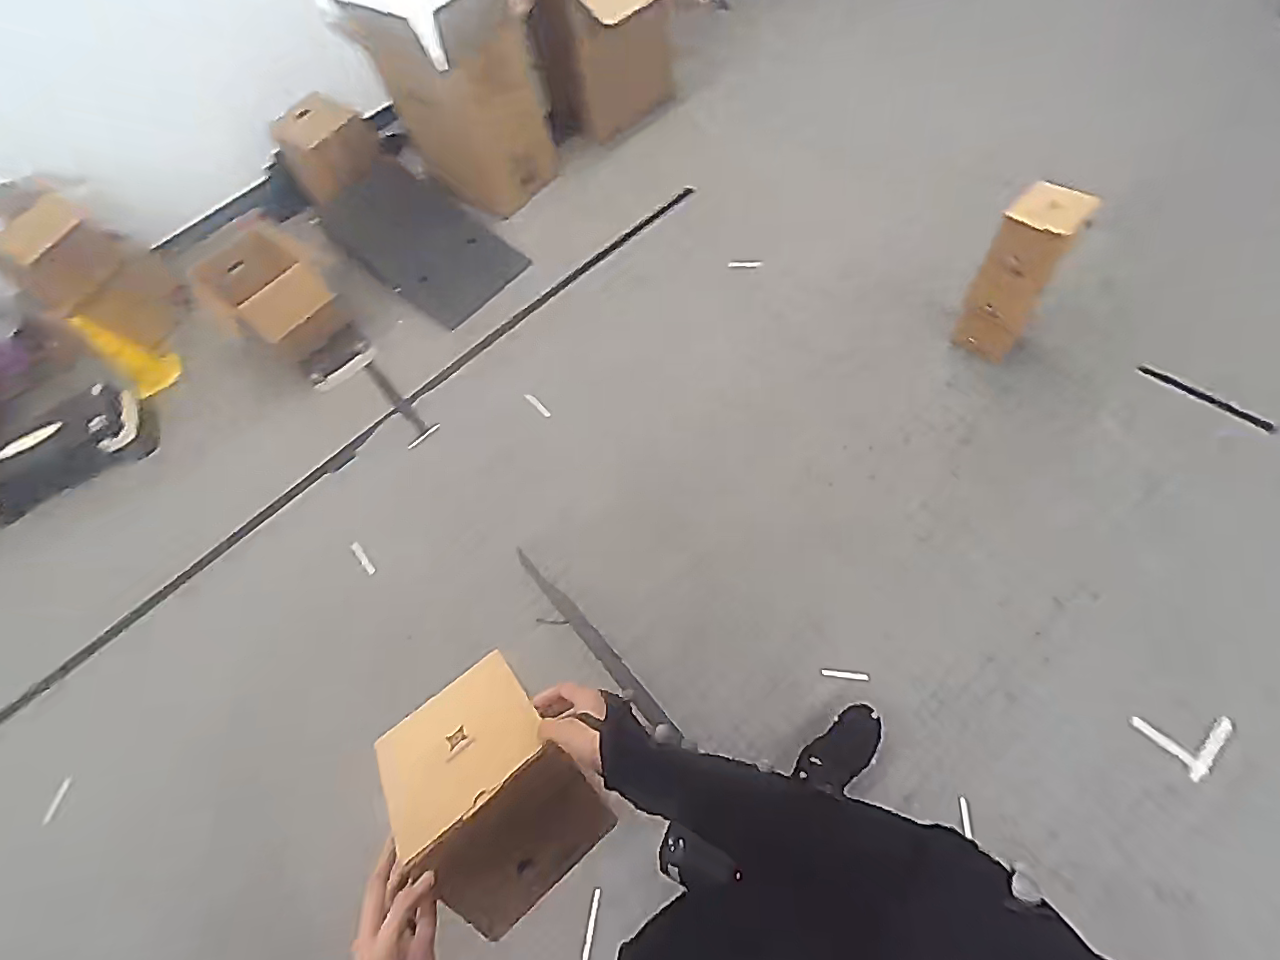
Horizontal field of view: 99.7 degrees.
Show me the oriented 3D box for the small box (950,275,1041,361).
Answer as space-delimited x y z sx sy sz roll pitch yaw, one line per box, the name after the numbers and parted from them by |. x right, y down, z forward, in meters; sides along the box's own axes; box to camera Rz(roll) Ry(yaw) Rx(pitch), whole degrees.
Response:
1.165 -0.533 1.788 0.179 0.176 0.168 -43 62 -14 | small box

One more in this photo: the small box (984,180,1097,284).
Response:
1.102 -0.687 1.506 0.179 0.176 0.168 -44 62 -13 | small box
